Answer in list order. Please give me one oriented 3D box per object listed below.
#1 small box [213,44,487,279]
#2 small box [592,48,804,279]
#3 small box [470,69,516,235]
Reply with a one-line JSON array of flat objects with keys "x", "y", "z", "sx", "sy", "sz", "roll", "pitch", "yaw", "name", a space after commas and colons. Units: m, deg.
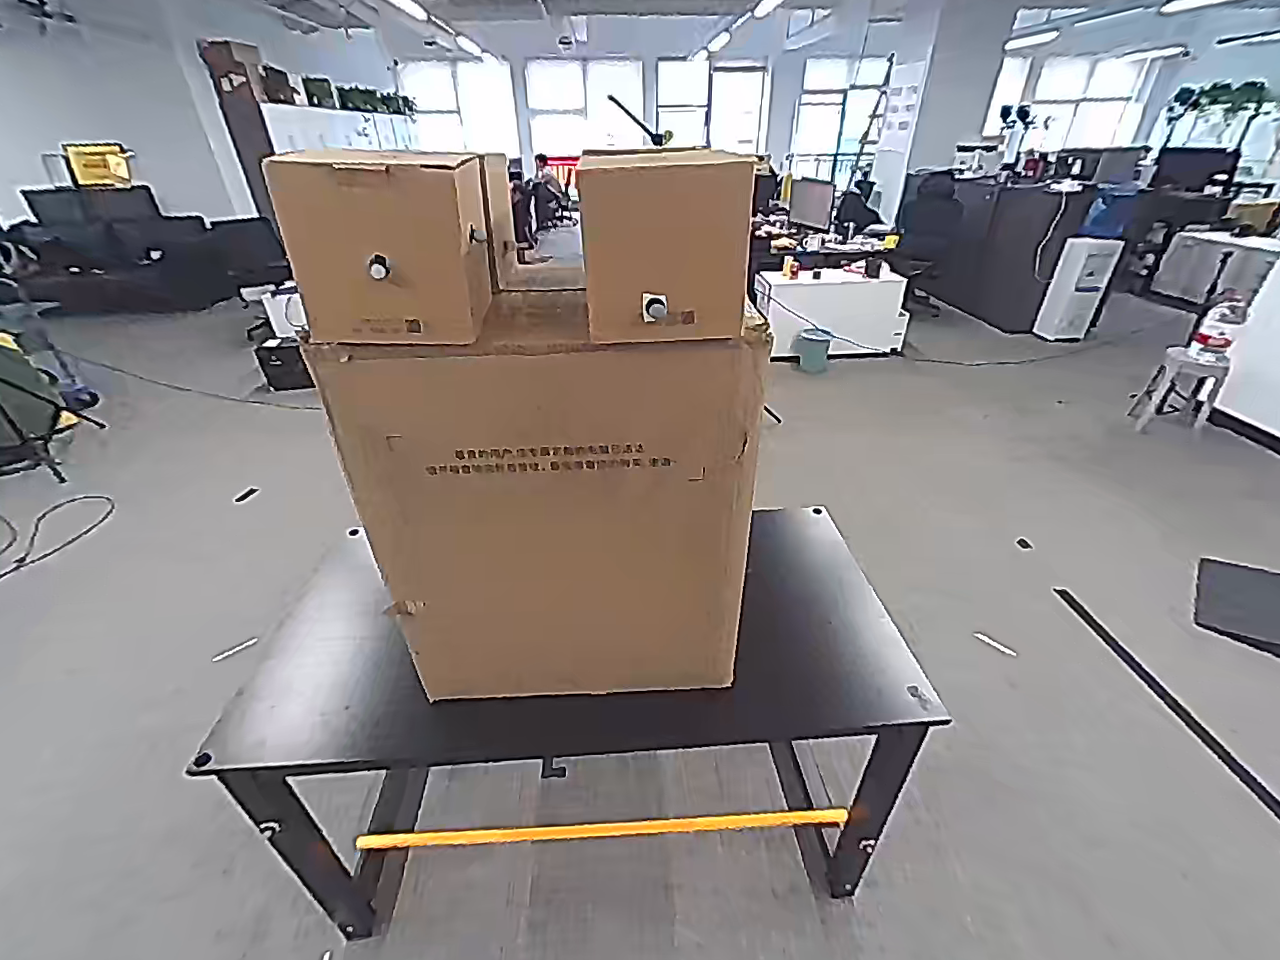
[{"x": -0.243, "y": -0.297, "z": 0.513, "sx": 0.168, "sy": 0.176, "sz": 0.179, "roll": -2, "pitch": 36, "yaw": -8, "name": "small box"}, {"x": 0.042, "y": -0.302, "z": 0.523, "sx": 0.168, "sy": 0.176, "sz": 0.179, "roll": -5, "pitch": 35, "yaw": -2, "name": "small box"}, {"x": -0.264, "y": -0.407, "z": 0.684, "sx": 0.179, "sy": 0.176, "sz": 0.168, "roll": 0, "pitch": 32, "yaw": -2, "name": "small box"}]
